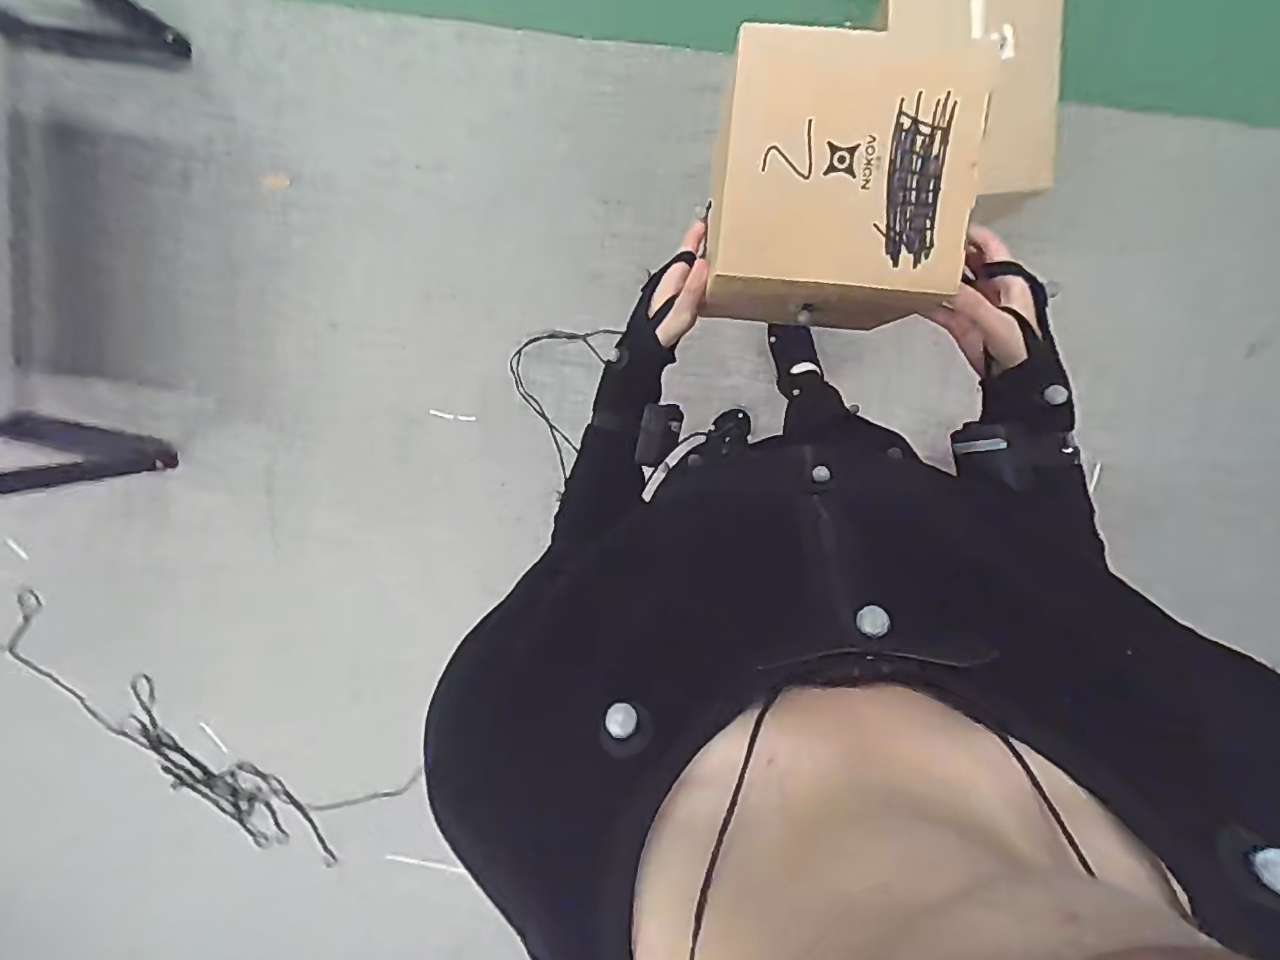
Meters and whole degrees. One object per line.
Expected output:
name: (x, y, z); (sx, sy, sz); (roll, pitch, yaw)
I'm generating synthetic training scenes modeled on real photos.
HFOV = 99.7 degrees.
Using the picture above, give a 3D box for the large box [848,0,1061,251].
large box: (0.655, -0.761, 1.181); (0.320, 0.320, 0.408); (-3, 98, 5)
